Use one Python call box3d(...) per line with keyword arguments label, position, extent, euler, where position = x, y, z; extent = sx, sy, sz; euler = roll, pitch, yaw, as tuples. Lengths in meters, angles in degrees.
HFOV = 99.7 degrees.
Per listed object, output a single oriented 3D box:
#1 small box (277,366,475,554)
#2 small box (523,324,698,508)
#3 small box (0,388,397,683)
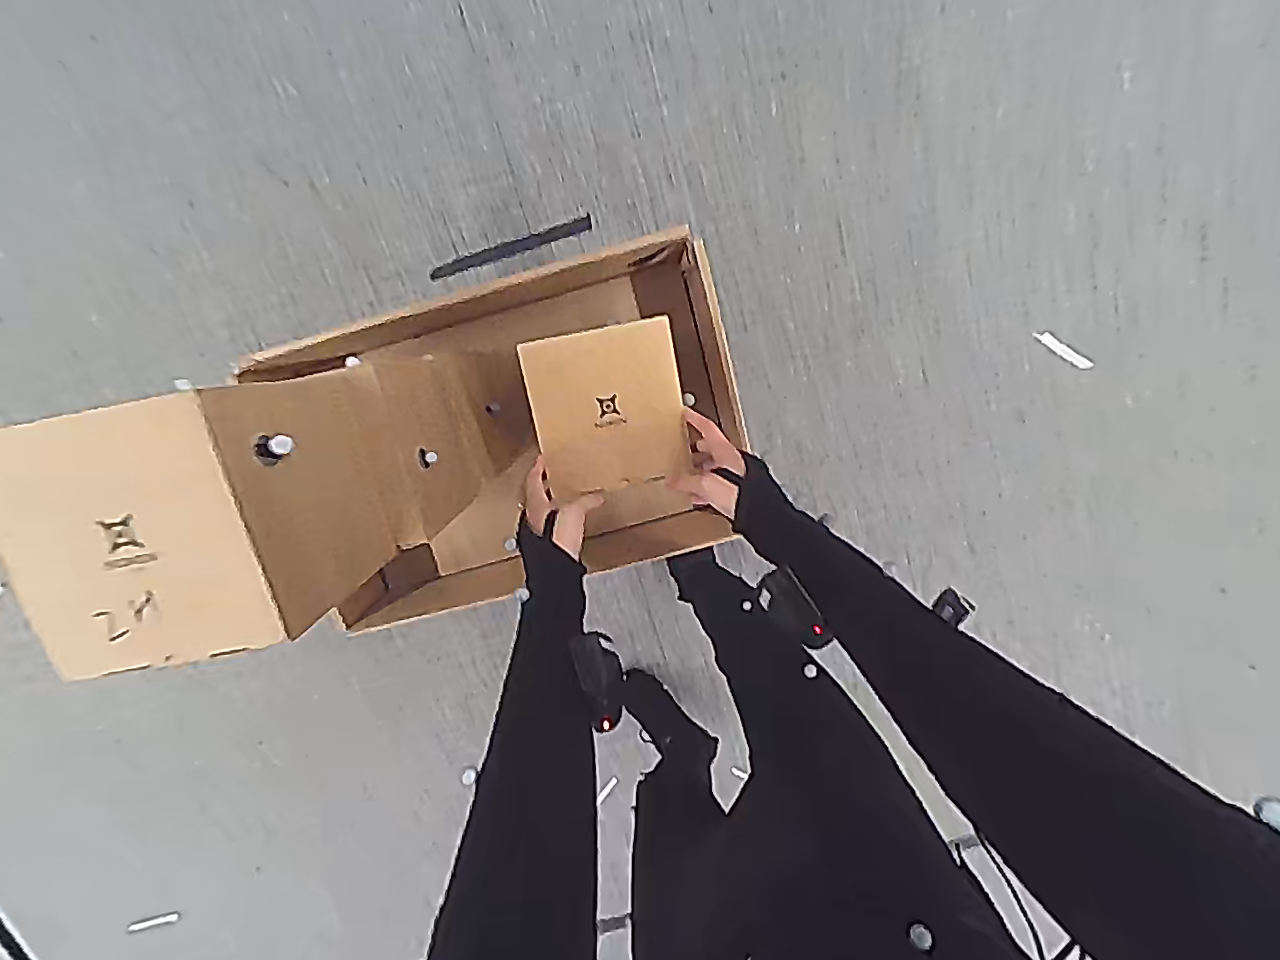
box3d(label="small box", position=(-0.296, -0.021, 0.587), extent=(0.168, 0.176, 0.179), euler=(-11, 103, 2))
box3d(label="small box", position=(-0.035, -0.081, 0.663), extent=(0.168, 0.176, 0.179), euler=(-12, 102, -1))
box3d(label="small box", position=(-0.325, 0.026, 0.429), extent=(0.168, 0.176, 0.179), euler=(-10, 104, 2))
